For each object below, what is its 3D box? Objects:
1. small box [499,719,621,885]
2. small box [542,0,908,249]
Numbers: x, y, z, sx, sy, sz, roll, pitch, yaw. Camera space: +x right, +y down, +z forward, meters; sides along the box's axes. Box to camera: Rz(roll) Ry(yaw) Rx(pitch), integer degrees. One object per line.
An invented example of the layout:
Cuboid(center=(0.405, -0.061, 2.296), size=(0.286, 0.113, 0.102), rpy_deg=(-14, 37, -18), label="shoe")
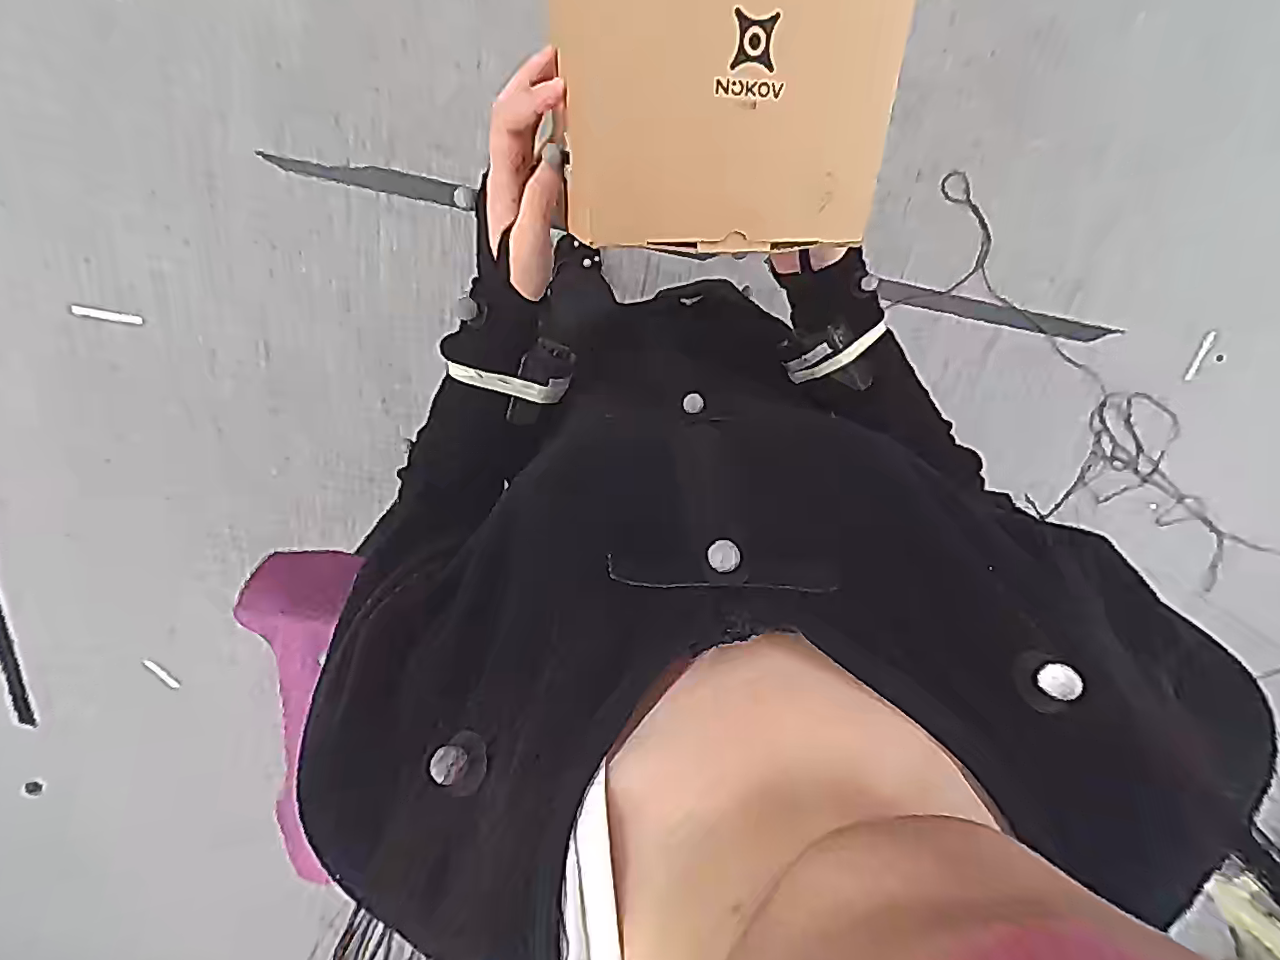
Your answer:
Cuboid(center=(-0.129, 0.518, 0.884), size=(0.168, 0.176, 0.179), rpy_deg=(8, 112, -8), label="small box")
Cuboid(center=(0.033, -0.246, 0.331), size=(0.168, 0.176, 0.179), rpy_deg=(-7, 120, -14), label="small box")
